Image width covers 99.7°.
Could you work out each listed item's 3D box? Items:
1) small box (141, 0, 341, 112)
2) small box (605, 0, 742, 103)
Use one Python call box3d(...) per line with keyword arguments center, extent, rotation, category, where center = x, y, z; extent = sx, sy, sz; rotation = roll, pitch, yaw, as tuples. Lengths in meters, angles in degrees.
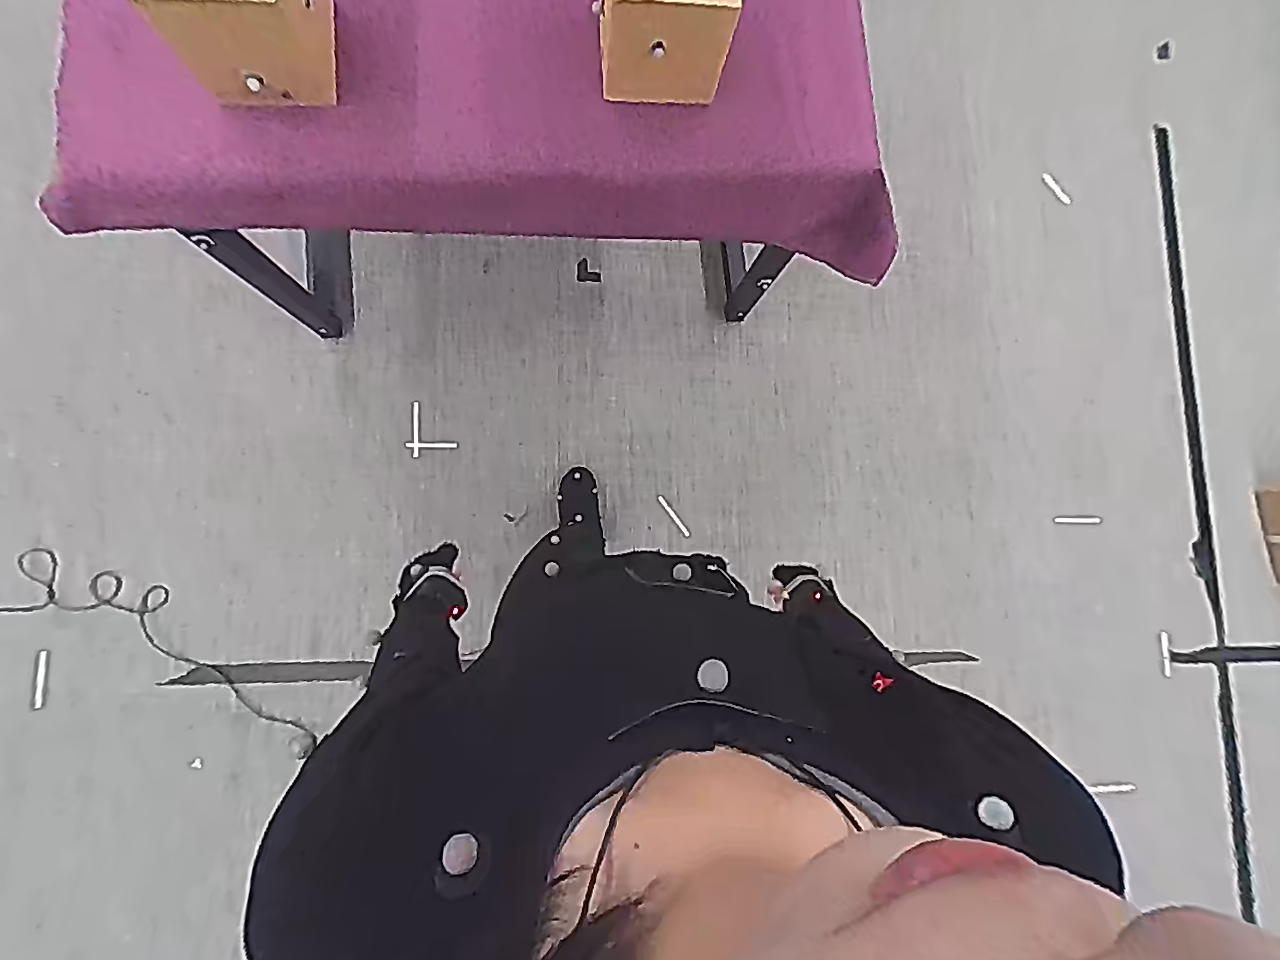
box3d(center=(-0.521, -0.639, 0.722), extent=(0.168, 0.176, 0.179), rotation=(-4, 86, -7), category="small box")
box3d(center=(0.038, -0.688, 0.789), extent=(0.179, 0.176, 0.168), rotation=(-3, 85, -5), category="small box")
